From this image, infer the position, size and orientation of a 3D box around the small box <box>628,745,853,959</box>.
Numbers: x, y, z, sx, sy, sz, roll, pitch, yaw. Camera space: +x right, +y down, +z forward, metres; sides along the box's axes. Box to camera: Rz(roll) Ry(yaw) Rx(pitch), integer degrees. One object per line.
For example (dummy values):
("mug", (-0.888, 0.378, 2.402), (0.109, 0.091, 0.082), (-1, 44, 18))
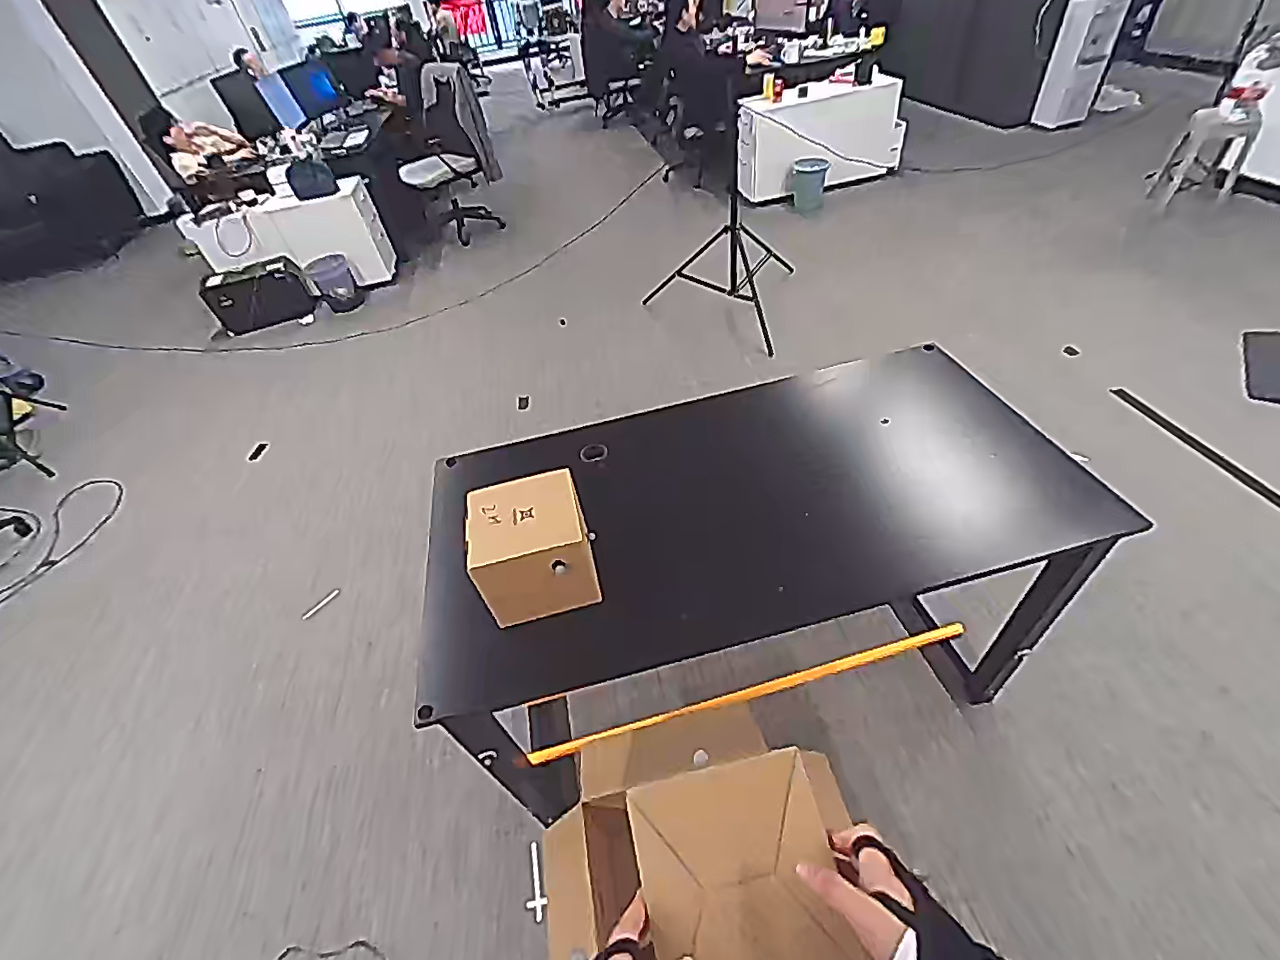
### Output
("small box", (0.087, 0.372, 0.527), (0.168, 0.176, 0.179), (-13, 63, -3))

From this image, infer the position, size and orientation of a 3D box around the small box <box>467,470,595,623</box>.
("small box", (-0.178, 0.113, 0.908), (0.179, 0.176, 0.168), (-14, 44, -4))
